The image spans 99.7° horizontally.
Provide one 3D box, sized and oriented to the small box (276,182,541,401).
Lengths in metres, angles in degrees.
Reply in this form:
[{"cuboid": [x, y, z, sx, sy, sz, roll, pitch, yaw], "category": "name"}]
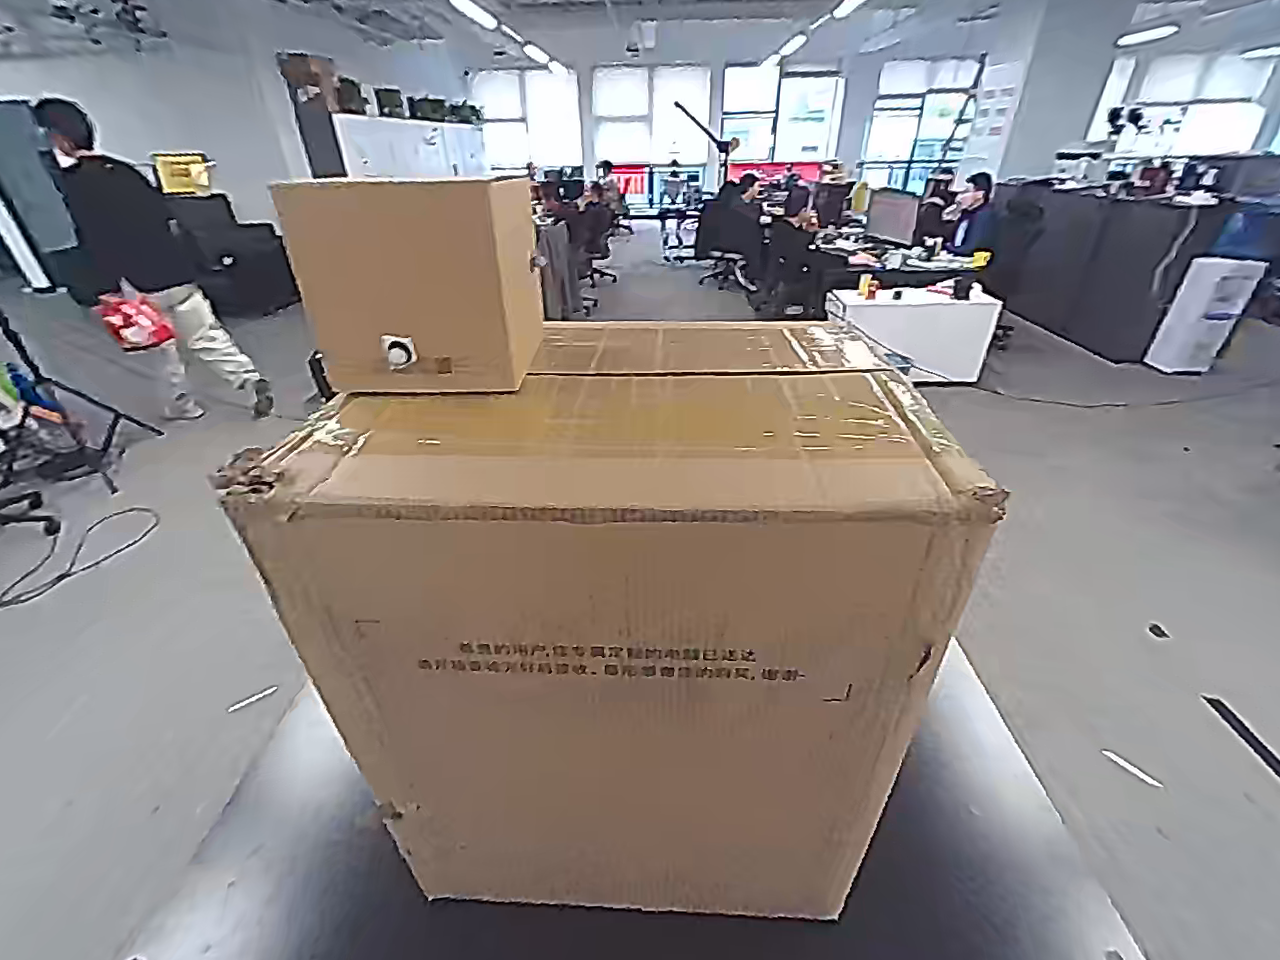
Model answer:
[{"cuboid": [-0.191, -0.183, 0.513, 0.168, 0.176, 0.179, -2, 31, -1], "category": "small box"}]
